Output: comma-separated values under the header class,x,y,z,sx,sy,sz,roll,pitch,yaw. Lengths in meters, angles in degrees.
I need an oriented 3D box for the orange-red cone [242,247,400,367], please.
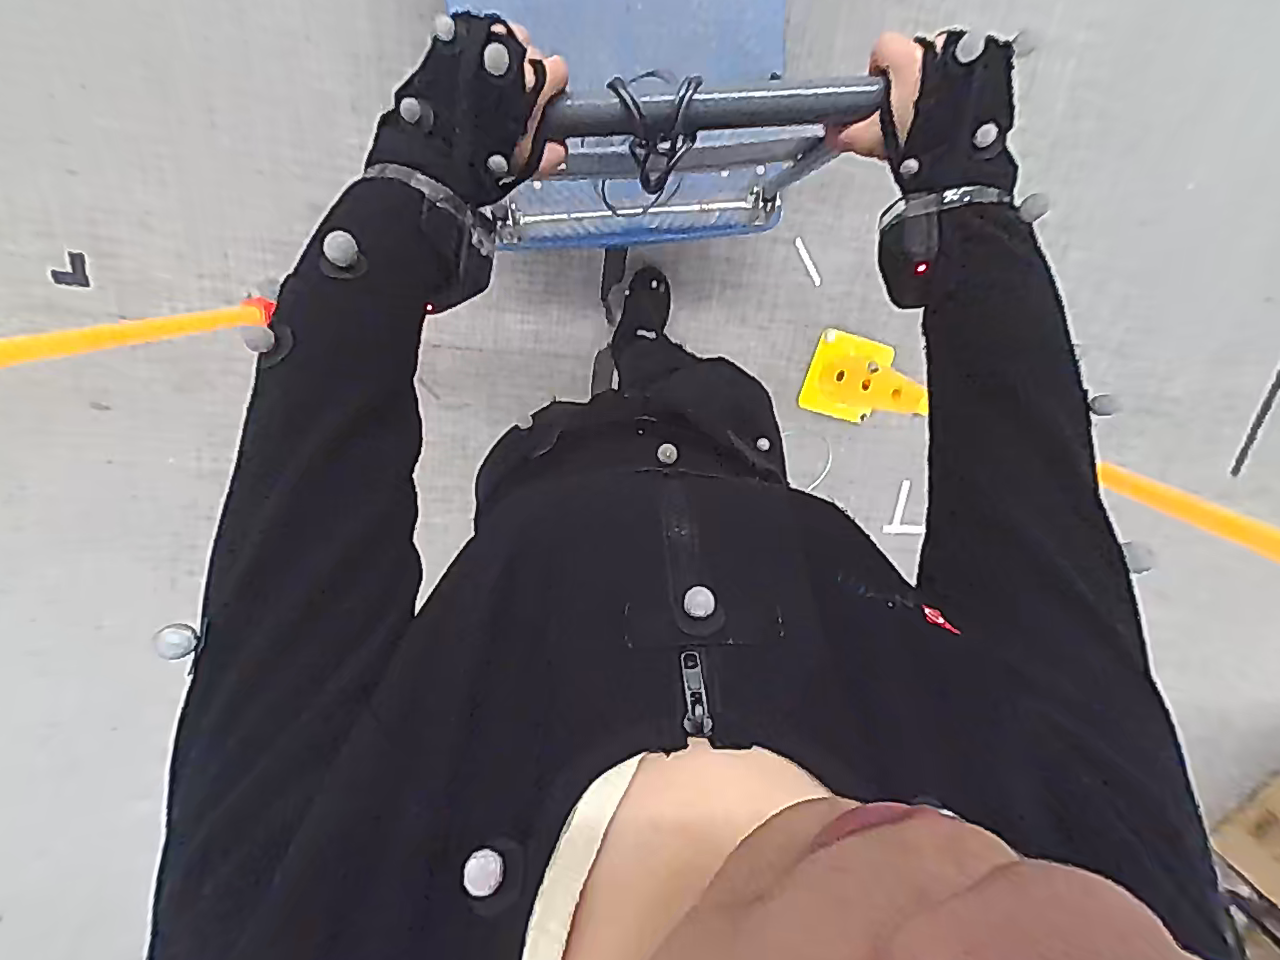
class,x,y,z,sx,sy,sz,roll,pitch,yaw
orange-red cone,-0.635,-0.318,1.022,0.199,0.360,0.198,-38,110,6
